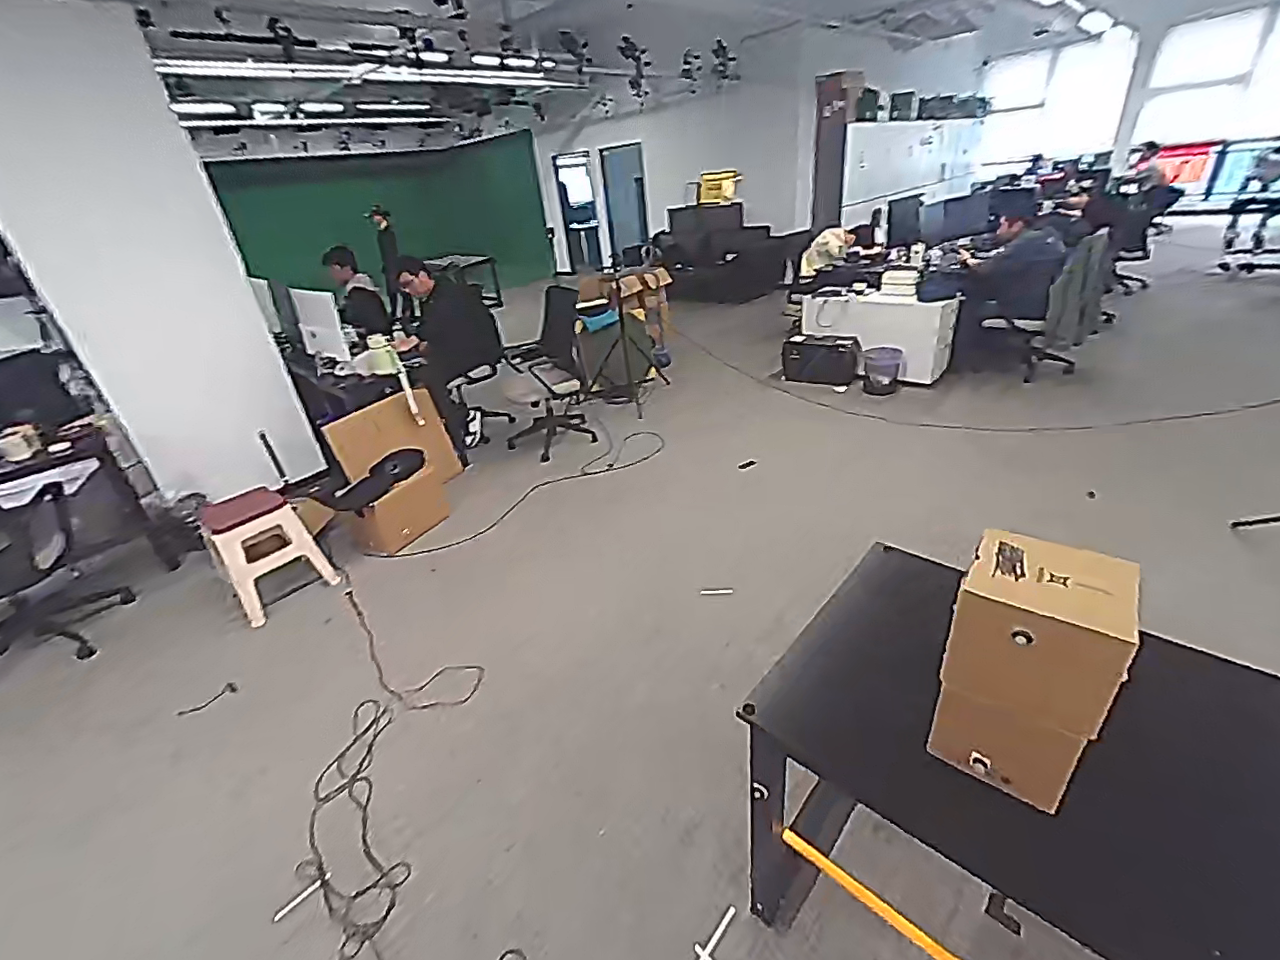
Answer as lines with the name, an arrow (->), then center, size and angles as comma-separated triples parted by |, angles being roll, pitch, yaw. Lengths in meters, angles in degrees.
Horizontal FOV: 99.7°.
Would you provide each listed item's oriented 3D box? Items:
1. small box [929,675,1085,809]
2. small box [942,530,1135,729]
small box -> 0.552, 0.339, 0.814 | 0.168, 0.176, 0.179 | 16, 37, 36
small box -> 0.531, 0.197, 0.734 | 0.179, 0.176, 0.168 | 16, 36, 35
